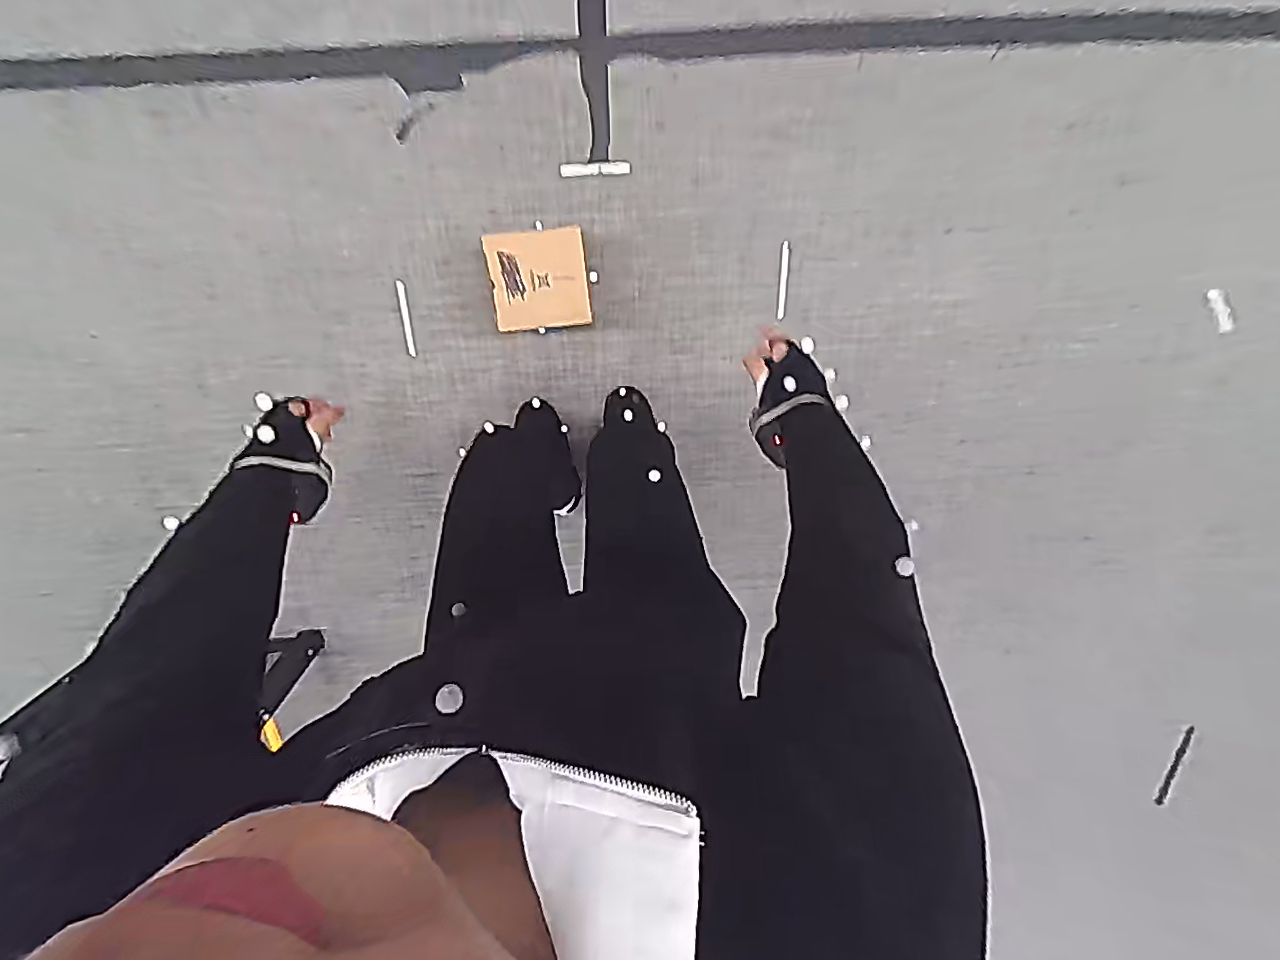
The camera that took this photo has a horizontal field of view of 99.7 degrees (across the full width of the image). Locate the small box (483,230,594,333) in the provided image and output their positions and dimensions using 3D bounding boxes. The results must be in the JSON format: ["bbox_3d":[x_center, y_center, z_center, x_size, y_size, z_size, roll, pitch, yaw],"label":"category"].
[{"bbox_3d":[-0.186,-0.383,1.045,0.179,0.176,0.168,-6,113,-2],"label":"small box"}]
